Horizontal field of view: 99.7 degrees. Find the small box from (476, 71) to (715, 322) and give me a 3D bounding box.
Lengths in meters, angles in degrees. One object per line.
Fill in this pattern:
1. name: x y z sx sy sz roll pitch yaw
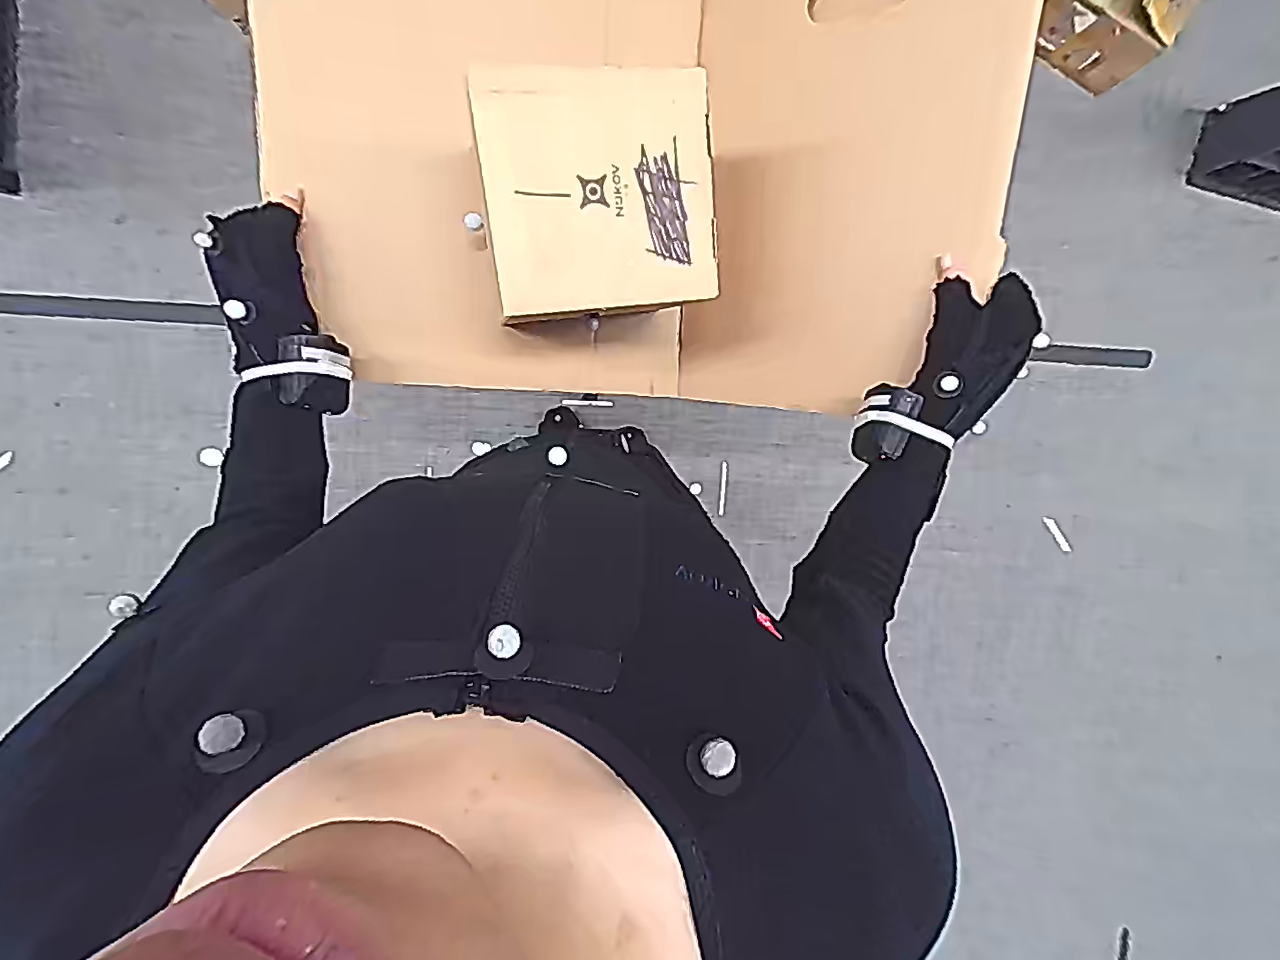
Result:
1. small box: -0.046 -0.236 0.489 0.179 0.176 0.168 -9 106 -13
